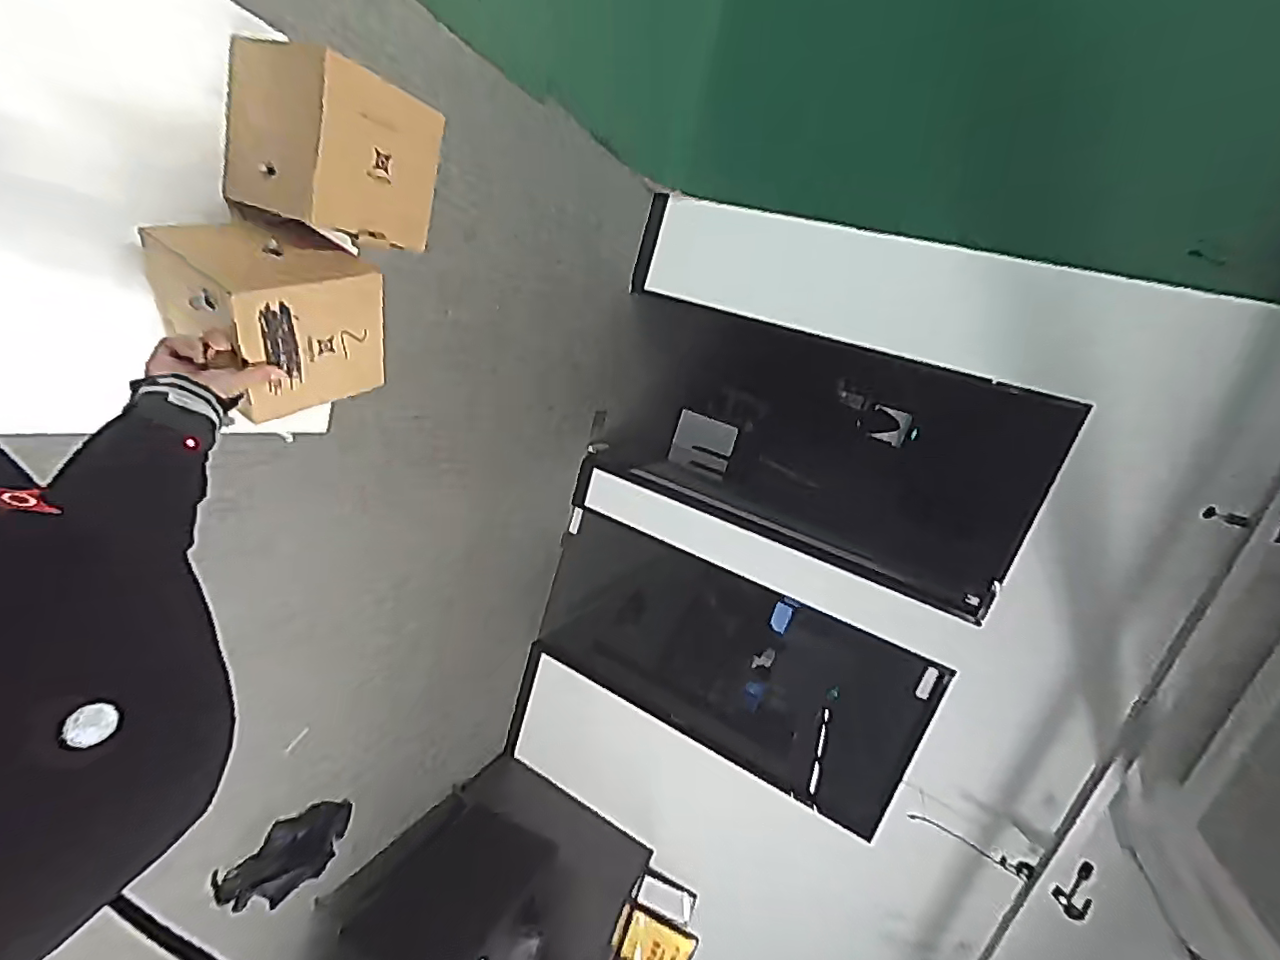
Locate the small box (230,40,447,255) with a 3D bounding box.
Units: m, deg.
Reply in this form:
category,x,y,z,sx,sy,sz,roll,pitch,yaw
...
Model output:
category,x,y,z,sx,sy,sz,roll,pitch,yaw
small box,-0.375,-0.404,0.675,0.168,0.176,0.179,-21,130,-63
